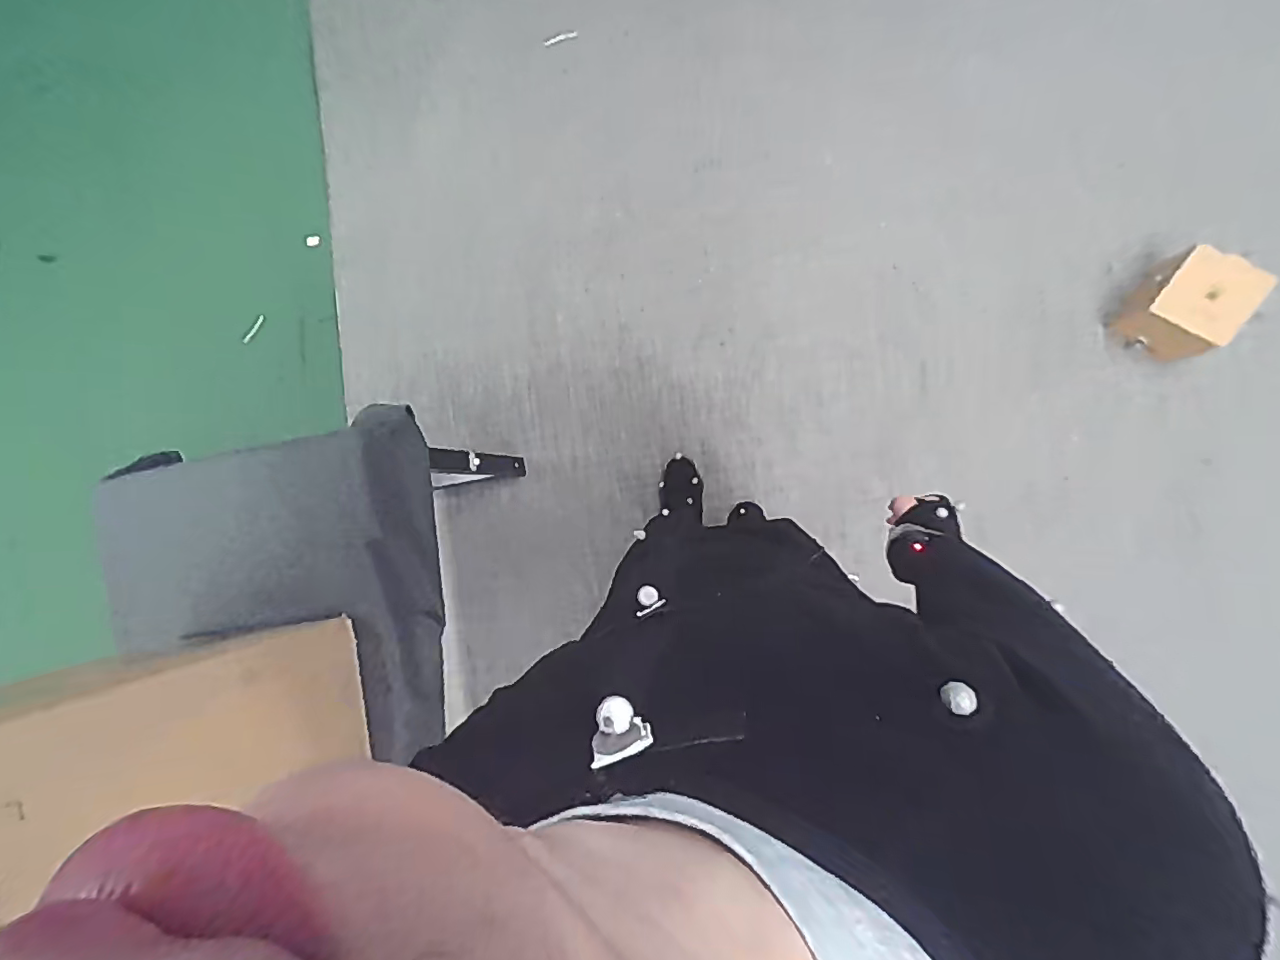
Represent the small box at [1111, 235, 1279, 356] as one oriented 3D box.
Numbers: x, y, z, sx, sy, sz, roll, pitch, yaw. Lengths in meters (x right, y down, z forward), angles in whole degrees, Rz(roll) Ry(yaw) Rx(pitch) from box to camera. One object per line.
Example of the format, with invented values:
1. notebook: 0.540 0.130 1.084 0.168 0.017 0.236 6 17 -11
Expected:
1. small box: 1.242 -0.410 1.230 0.168 0.176 0.179 35 98 12
